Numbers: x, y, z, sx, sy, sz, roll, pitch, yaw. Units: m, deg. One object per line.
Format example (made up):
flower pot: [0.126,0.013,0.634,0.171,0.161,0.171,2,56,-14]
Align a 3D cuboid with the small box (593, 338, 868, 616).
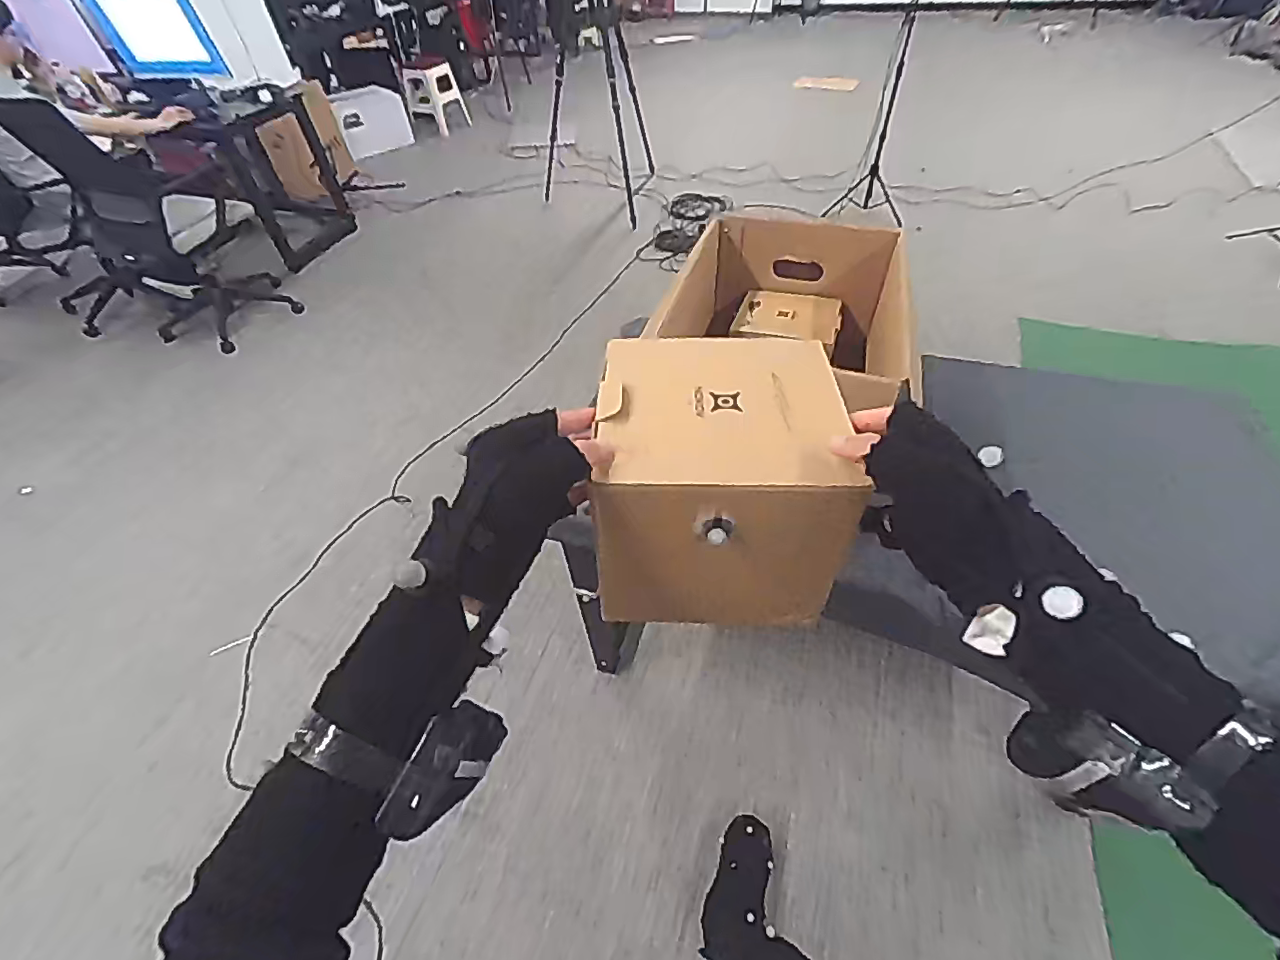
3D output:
small box: [0.060,0.000,0.450,0.179,0.176,0.168,1,46,1]
